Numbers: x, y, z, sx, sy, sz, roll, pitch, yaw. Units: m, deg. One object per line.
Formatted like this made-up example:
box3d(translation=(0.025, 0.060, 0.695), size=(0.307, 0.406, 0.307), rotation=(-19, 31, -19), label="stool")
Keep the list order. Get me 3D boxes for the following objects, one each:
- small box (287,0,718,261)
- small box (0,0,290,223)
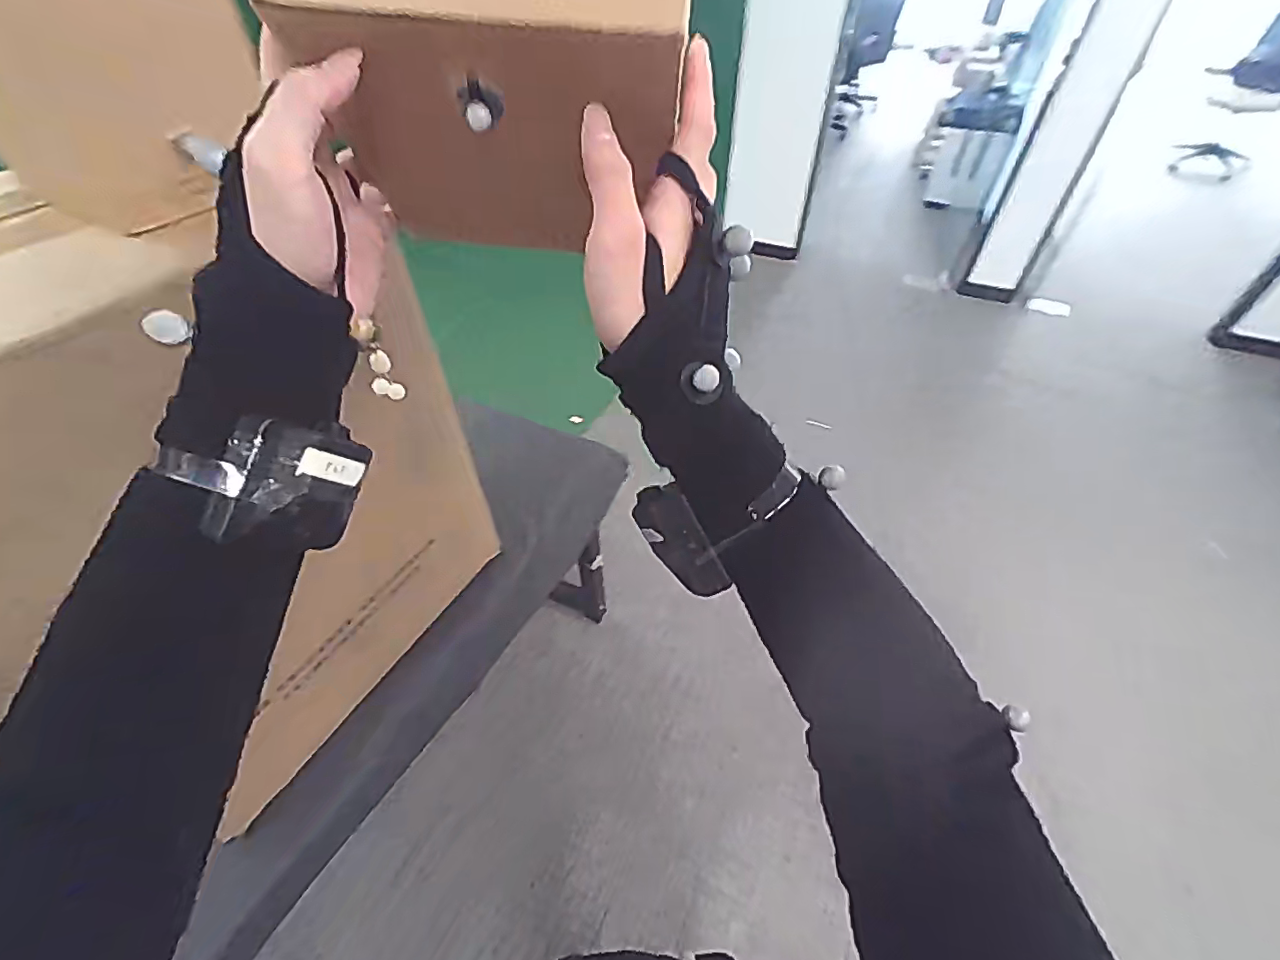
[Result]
box3d(translation=(-0.051, -0.246, 0.307), size=(0.179, 0.176, 0.168), rotation=(5, 84, -2), label="small box")
box3d(translation=(-0.453, -0.342, 0.459), size=(0.179, 0.176, 0.168), rotation=(25, 51, 17), label="small box")
